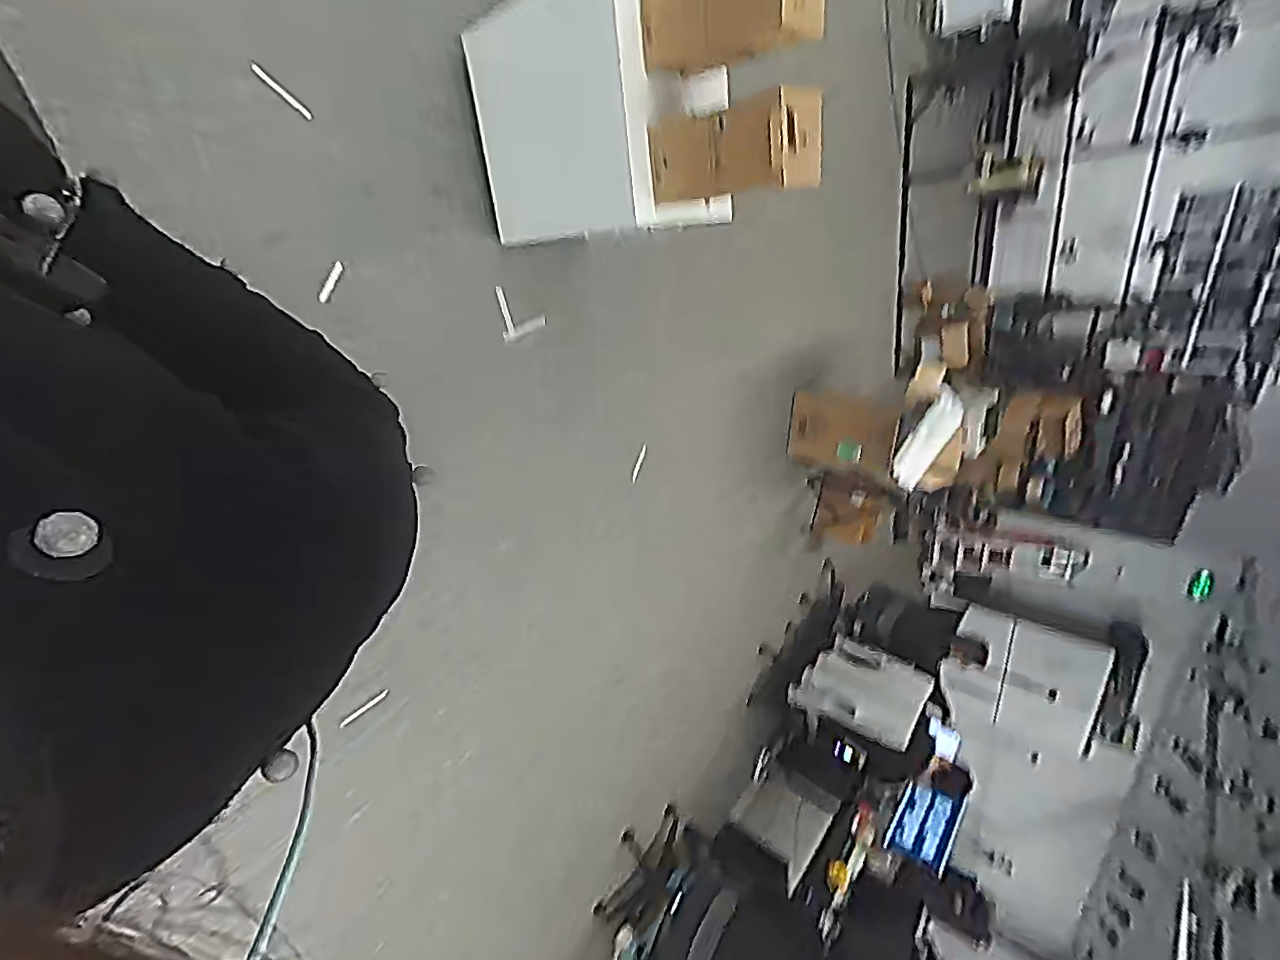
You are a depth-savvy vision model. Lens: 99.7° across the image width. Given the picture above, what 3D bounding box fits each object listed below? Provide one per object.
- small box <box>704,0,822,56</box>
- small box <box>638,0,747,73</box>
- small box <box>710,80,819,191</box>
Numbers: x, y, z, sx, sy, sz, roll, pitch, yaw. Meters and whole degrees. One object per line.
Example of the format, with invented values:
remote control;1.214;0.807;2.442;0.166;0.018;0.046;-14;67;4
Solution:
small box;0.232;-0.950;1.030;0.168;0.176;0.179;-28;122;-40
small box;0.113;-0.985;1.139;0.179;0.176;0.168;-29;122;-41
small box;0.260;-0.714;1.137;0.179;0.176;0.168;-31;123;-40
